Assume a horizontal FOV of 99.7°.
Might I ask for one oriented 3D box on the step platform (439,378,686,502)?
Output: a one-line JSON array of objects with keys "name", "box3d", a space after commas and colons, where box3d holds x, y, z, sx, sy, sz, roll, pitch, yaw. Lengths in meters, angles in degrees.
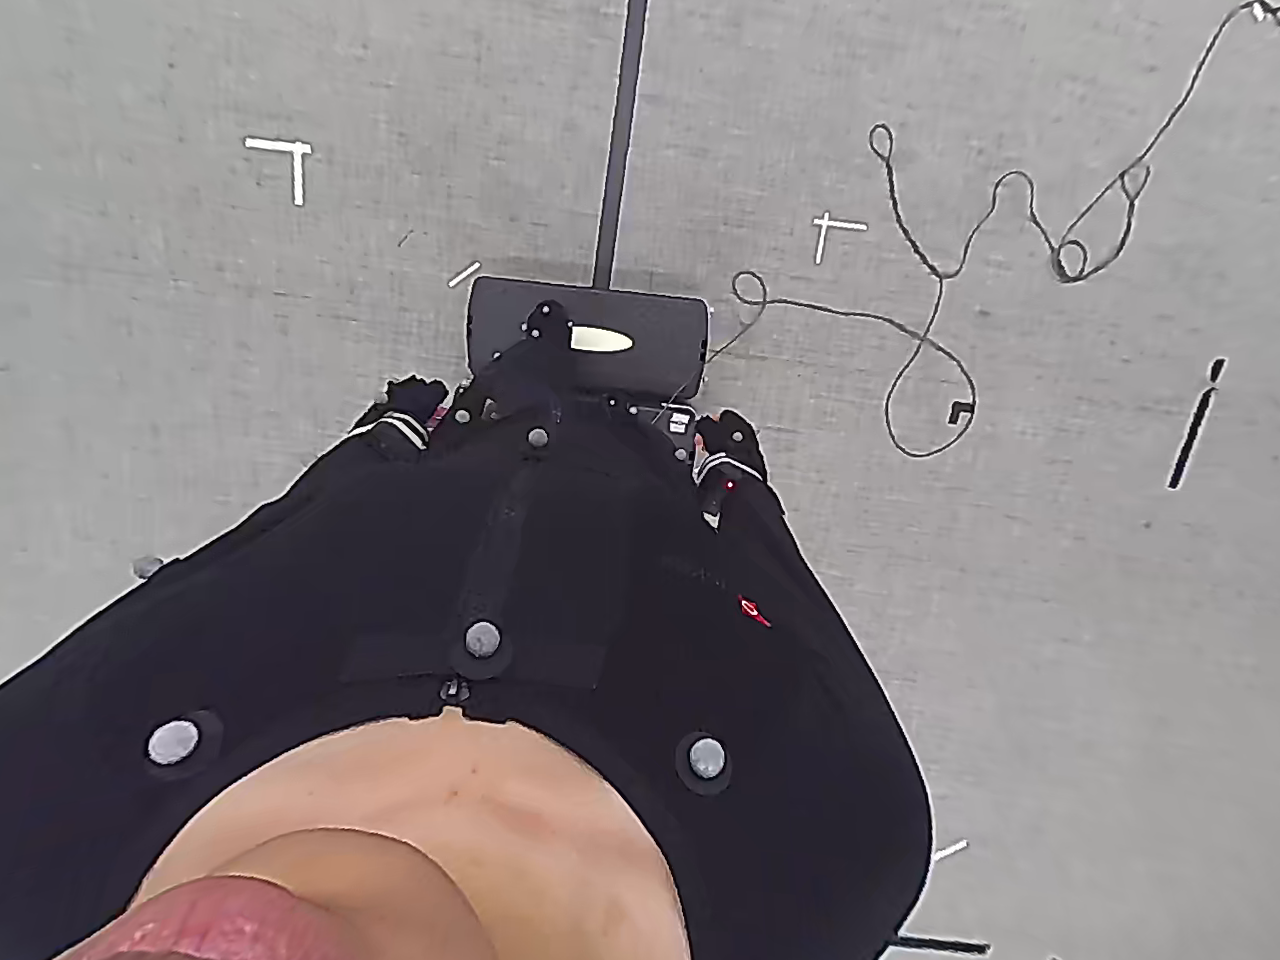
[{"name": "step platform", "box3d": [-0.211, -0.115, 1.542, 0.684, 0.204, 0.286, 6, 101, -1]}]
